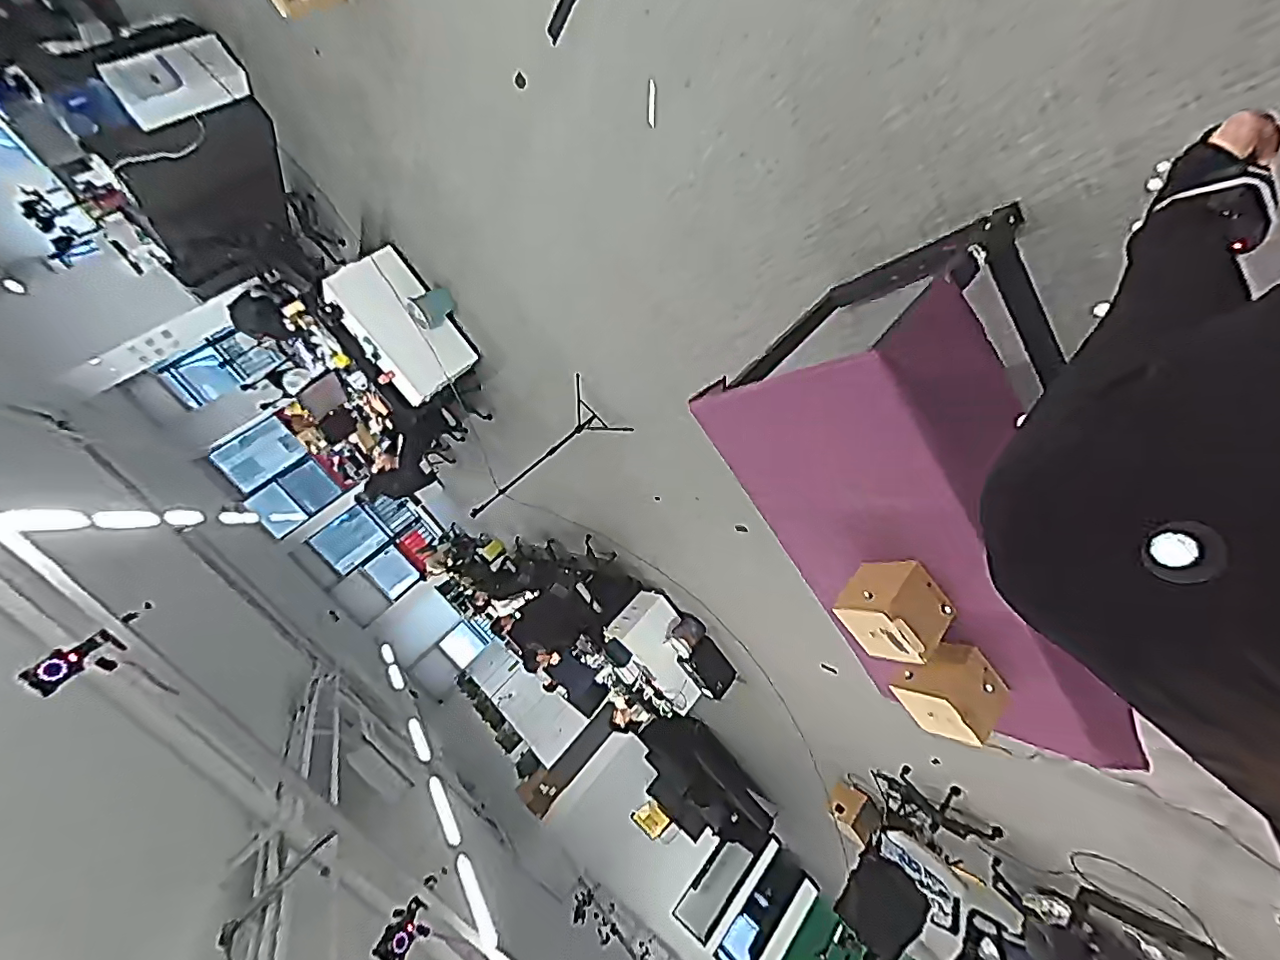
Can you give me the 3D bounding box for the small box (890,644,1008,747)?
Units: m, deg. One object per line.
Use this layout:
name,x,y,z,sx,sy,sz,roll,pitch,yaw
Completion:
small box,0.791,0.538,1.385,0.168,0.176,0.179,50,155,-8

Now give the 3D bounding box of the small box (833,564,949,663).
small box,0.622,0.319,1.327,0.168,0.176,0.179,50,156,-7
